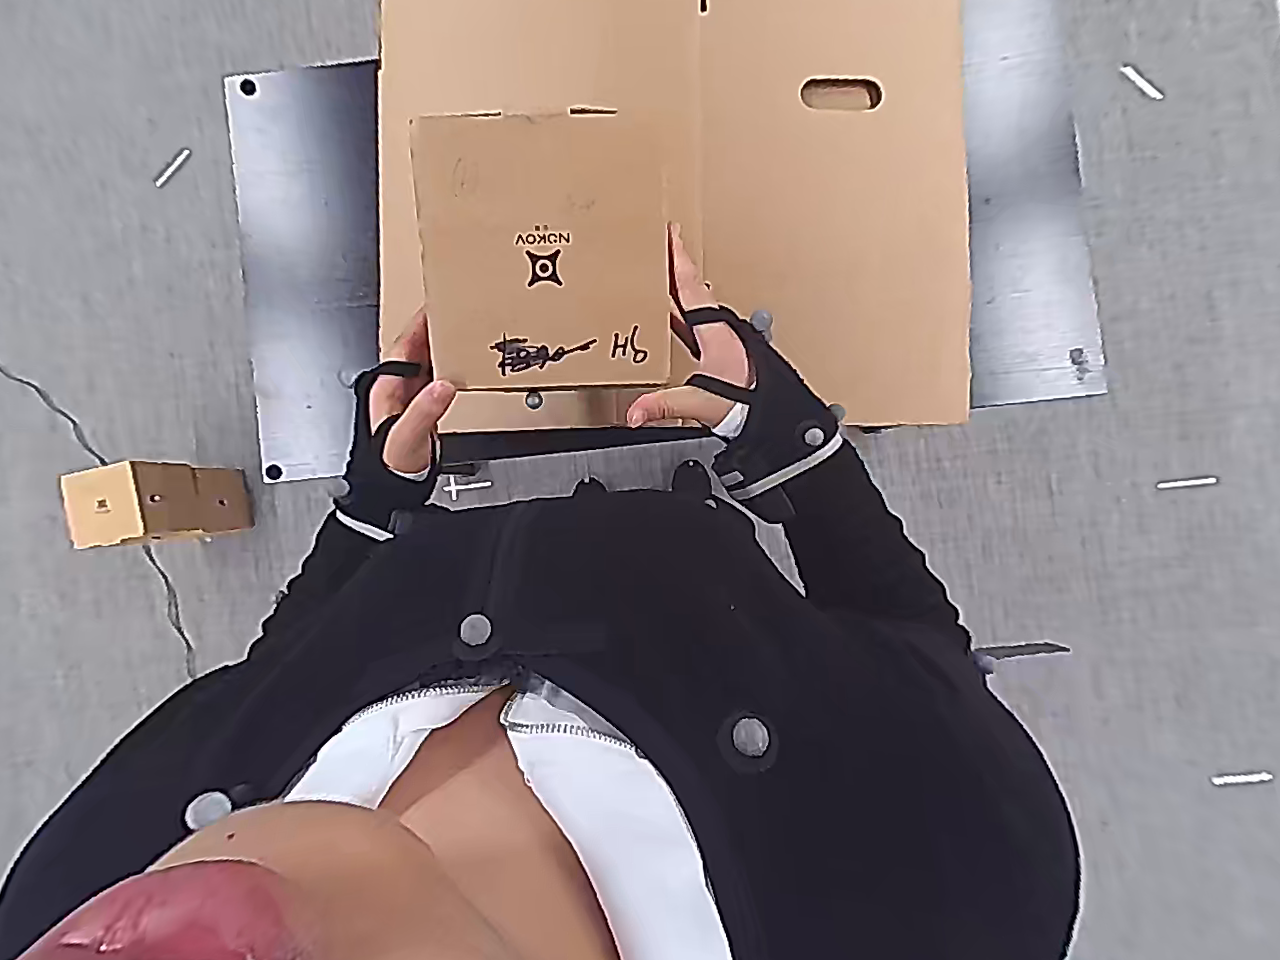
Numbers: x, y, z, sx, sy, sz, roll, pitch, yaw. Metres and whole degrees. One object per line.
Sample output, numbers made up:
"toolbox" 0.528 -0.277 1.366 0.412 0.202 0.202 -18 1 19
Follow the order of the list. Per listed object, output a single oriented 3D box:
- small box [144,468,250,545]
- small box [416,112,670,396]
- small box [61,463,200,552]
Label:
"small box" -1.198 0.070 1.455 0.168 0.176 0.179 -10 90 2
"small box" -0.062 -0.160 0.438 0.168 0.176 0.179 -1 98 1
"small box" -1.205 0.062 1.293 0.168 0.176 0.179 -13 88 1
